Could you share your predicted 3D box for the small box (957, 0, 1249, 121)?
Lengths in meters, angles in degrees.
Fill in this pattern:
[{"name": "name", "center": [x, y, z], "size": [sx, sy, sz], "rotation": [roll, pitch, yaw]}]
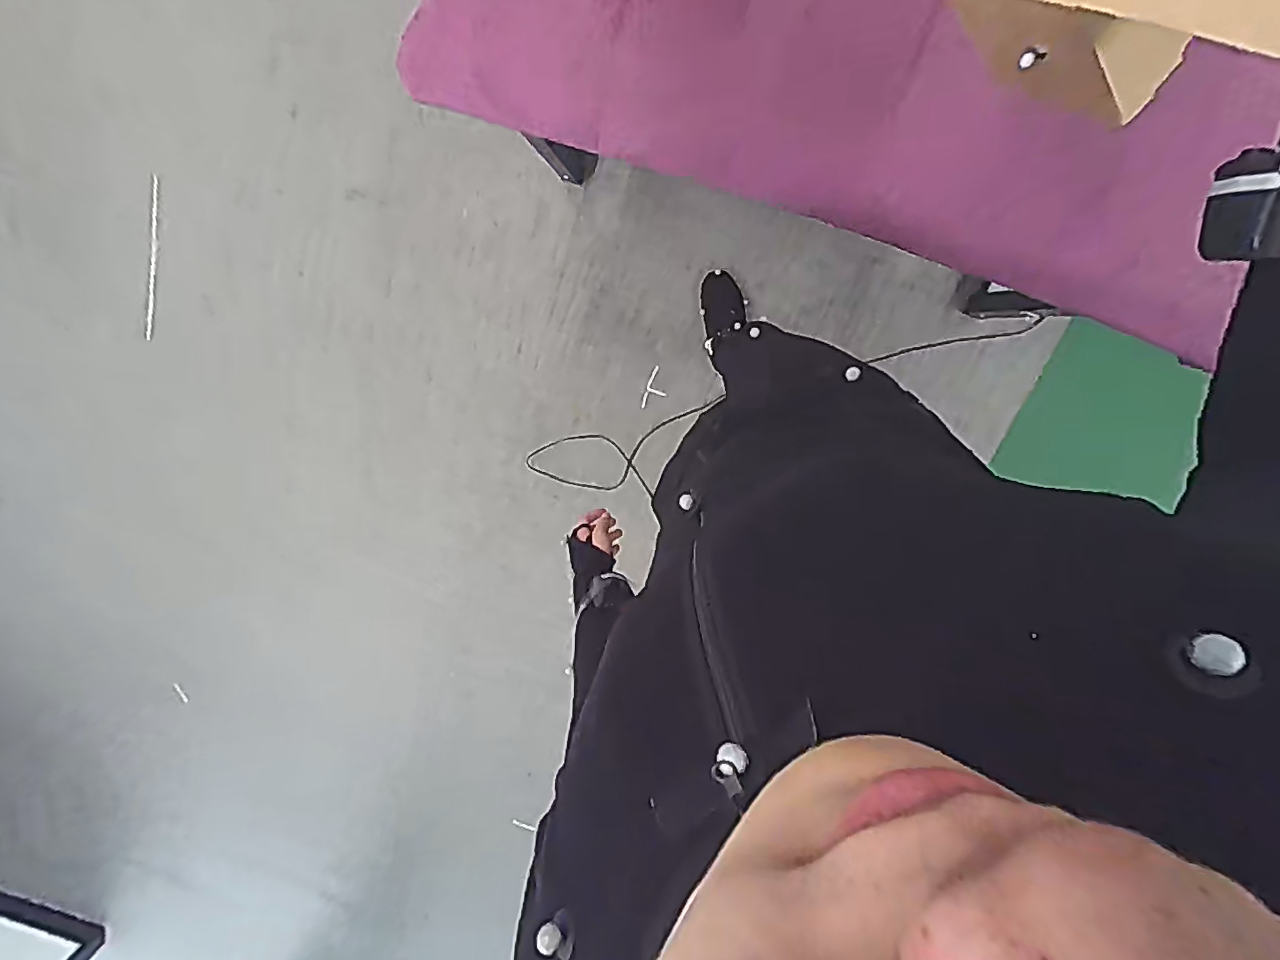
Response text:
[{"name": "small box", "center": [0.422, -0.471, 0.479], "size": [0.179, 0.176, 0.168], "rotation": [12, 129, -37]}]
